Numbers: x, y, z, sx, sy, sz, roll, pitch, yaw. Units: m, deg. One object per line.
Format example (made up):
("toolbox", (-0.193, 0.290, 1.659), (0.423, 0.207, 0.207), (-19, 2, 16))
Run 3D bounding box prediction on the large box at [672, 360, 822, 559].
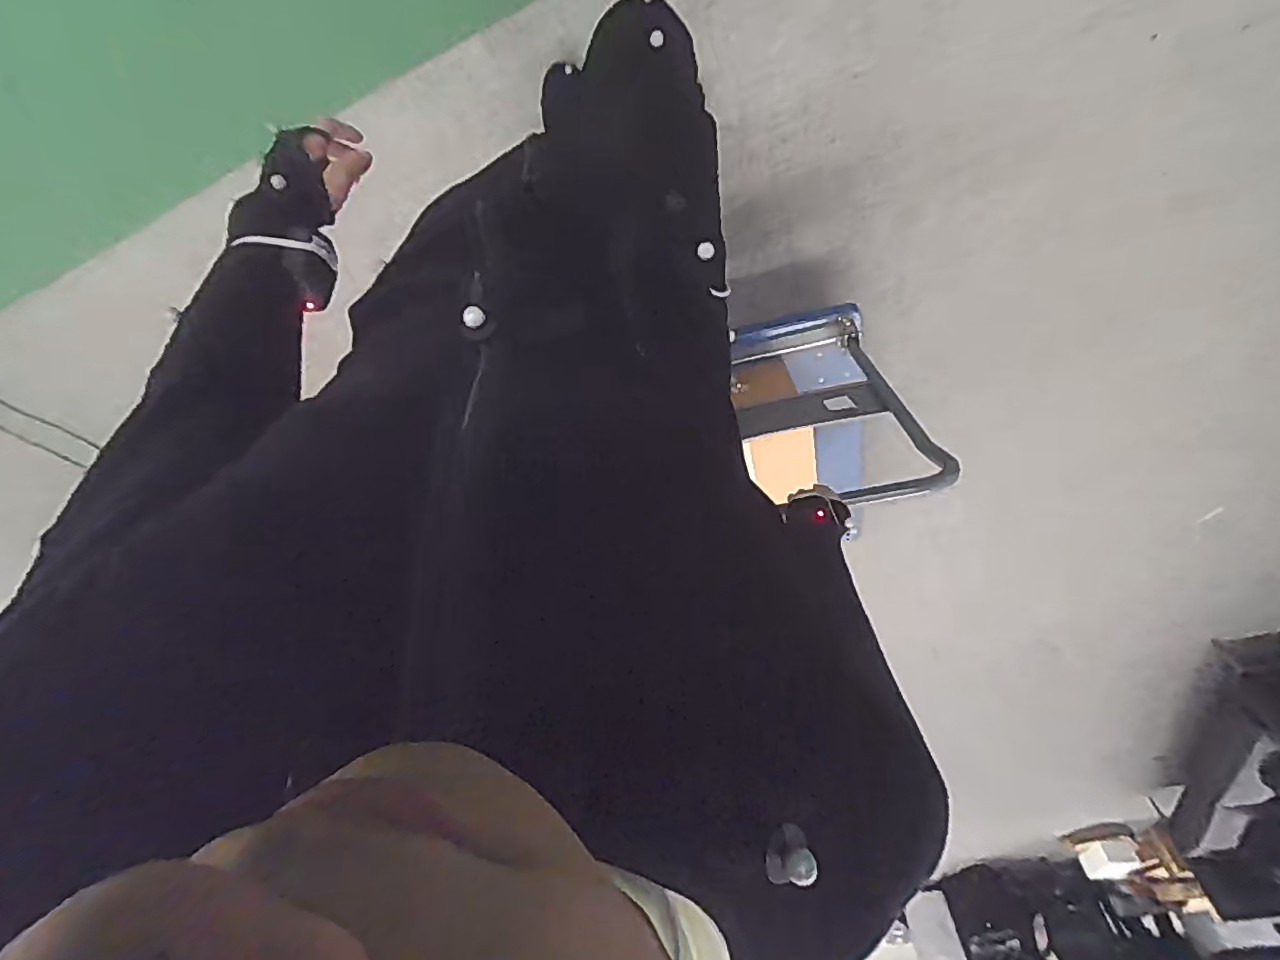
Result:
("large box", (0.289, -0.052, 1.474), (0.320, 0.320, 0.408), (-12, 129, 9))
